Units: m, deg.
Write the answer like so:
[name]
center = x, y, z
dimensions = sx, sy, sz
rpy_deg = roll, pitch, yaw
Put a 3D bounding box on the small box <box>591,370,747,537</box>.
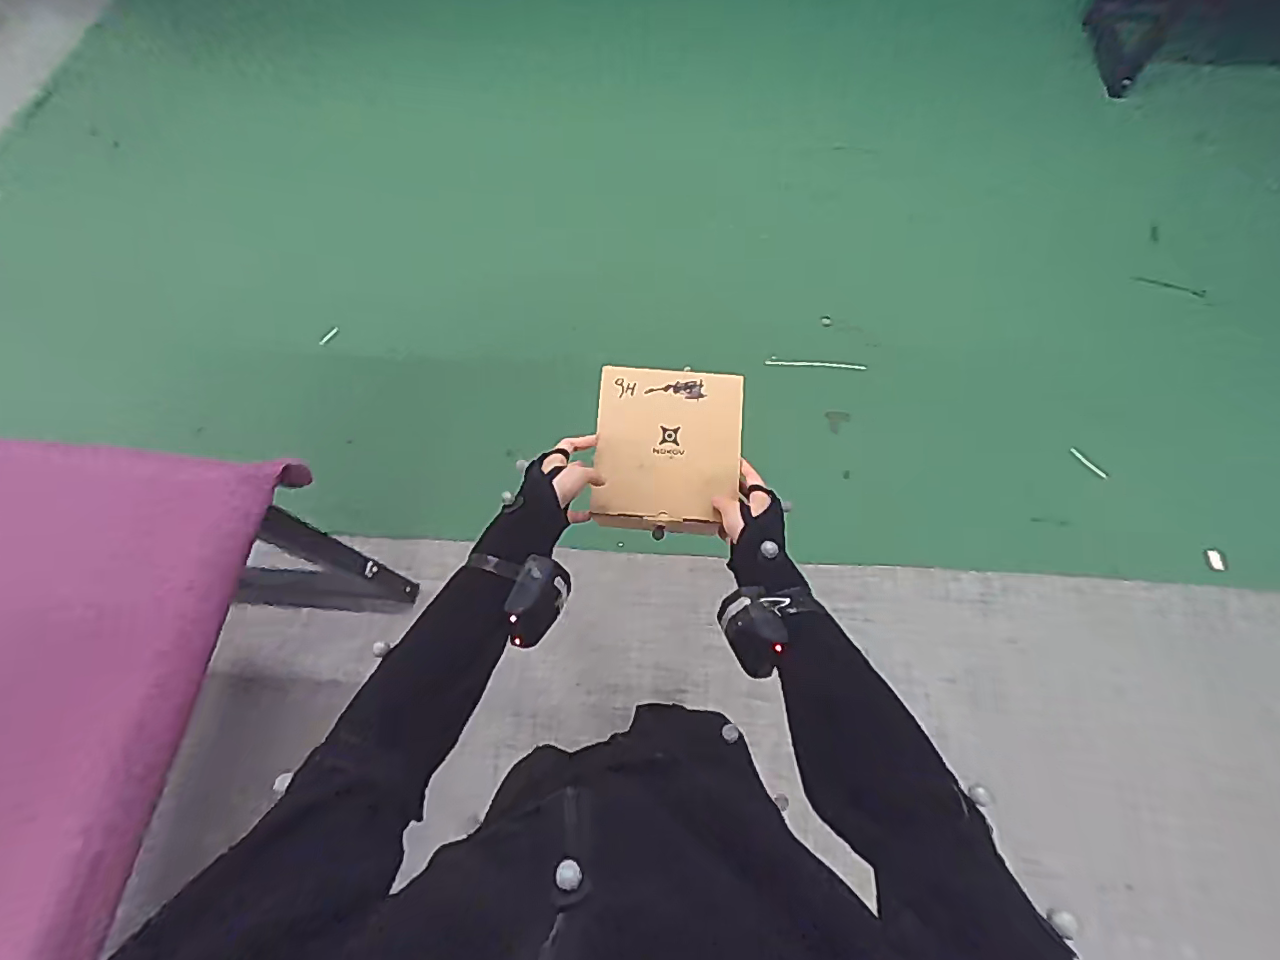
[small box]
center = 0.034, -0.023, 0.686
dimensions = 0.168, 0.176, 0.179
rpy_deg = 5, 81, 0
